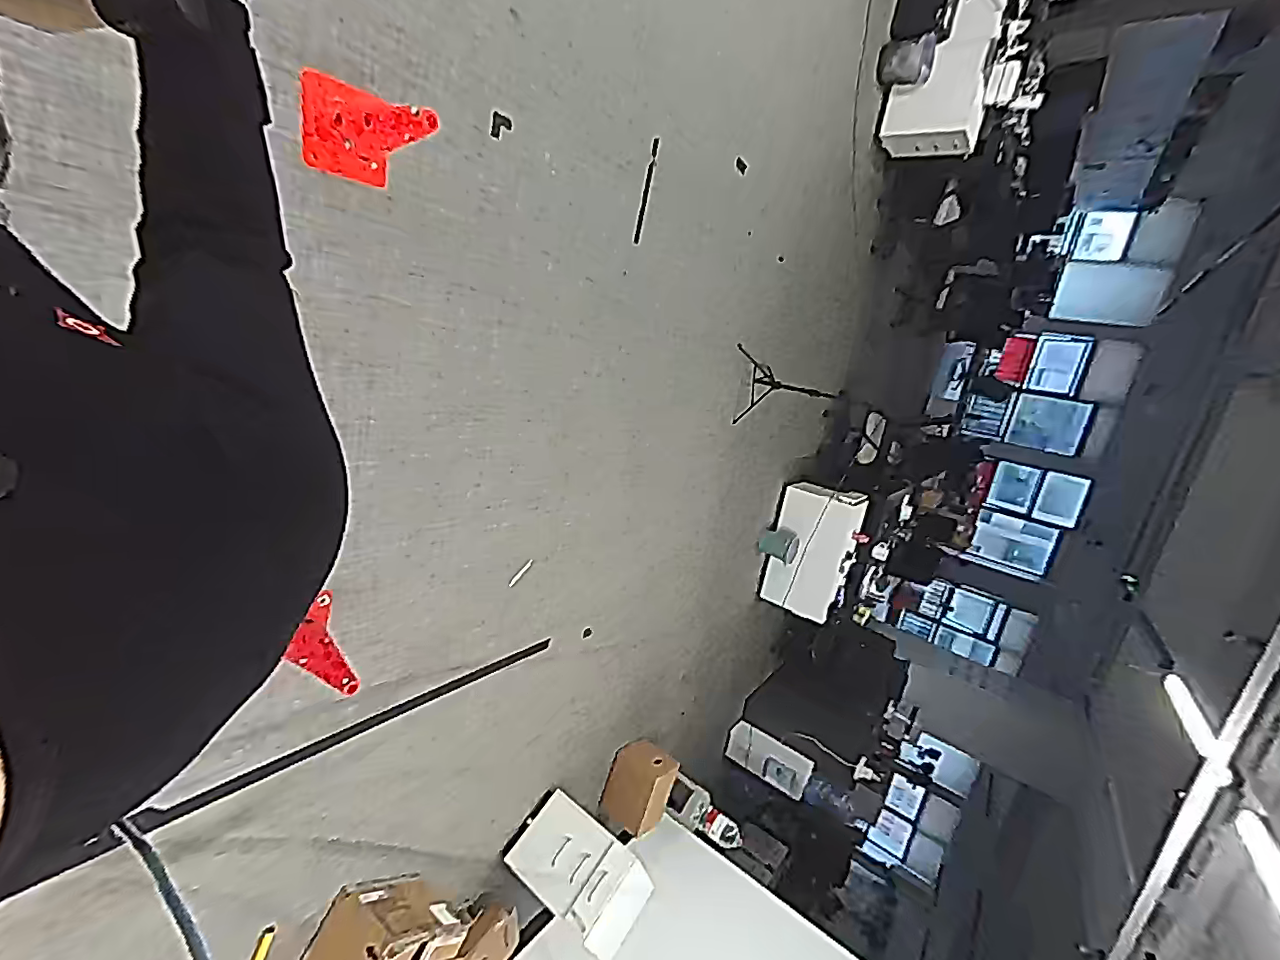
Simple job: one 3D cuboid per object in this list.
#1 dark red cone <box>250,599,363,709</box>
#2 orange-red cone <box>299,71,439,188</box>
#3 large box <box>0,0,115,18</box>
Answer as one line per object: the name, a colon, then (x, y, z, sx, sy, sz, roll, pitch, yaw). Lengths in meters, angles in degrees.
dark red cone: (-0.832, 0.475, 1.407, 0.201, 0.394, 0.202, 3, 104, -54)
orange-red cone: (-0.566, -0.779, 1.192, 0.198, 0.360, 0.199, -11, 114, -54)
large box: (-0.532, -0.493, 0.235, 0.408, 0.320, 0.320, -13, 124, -54)
